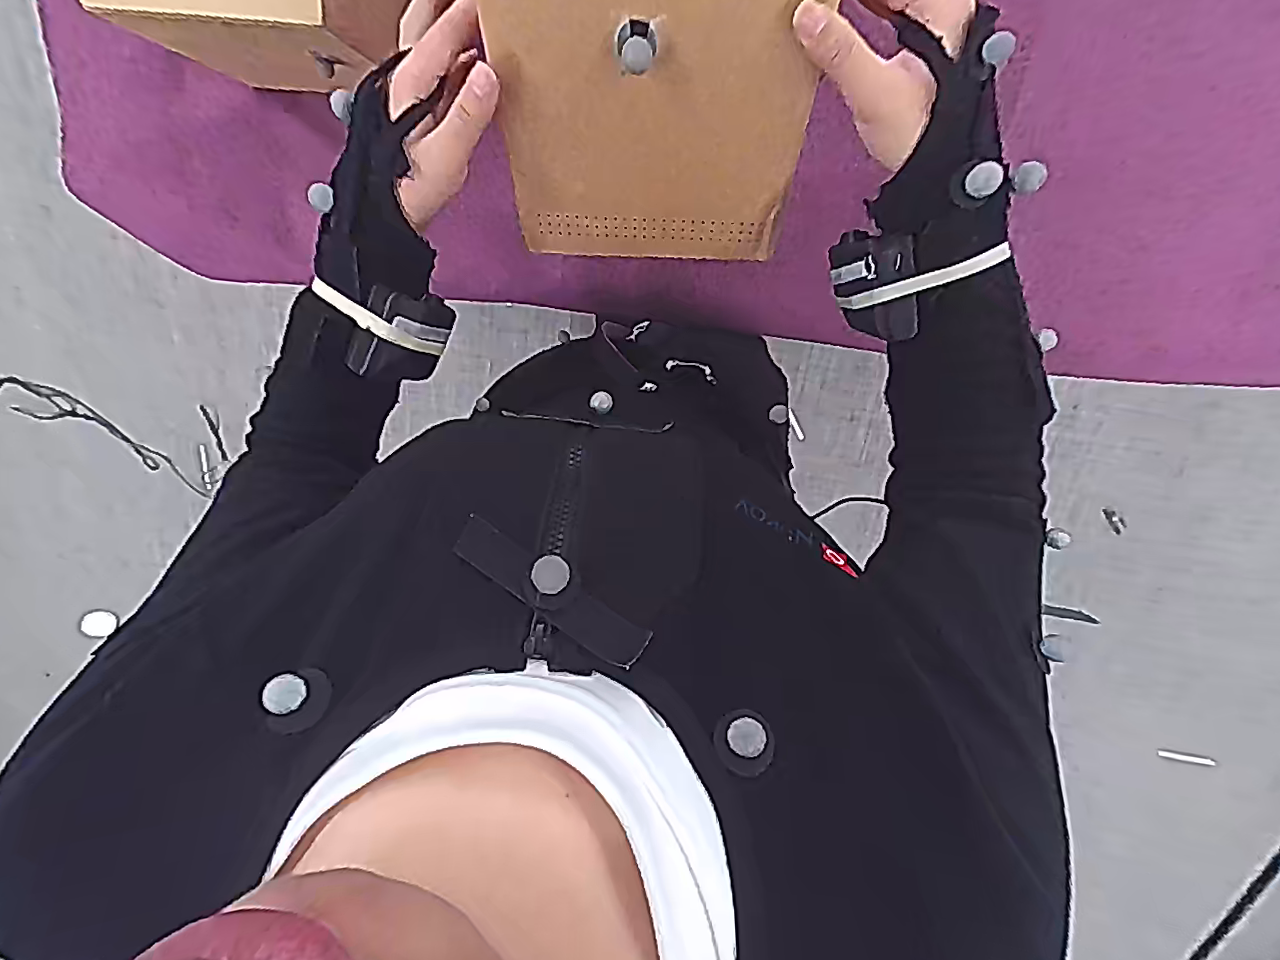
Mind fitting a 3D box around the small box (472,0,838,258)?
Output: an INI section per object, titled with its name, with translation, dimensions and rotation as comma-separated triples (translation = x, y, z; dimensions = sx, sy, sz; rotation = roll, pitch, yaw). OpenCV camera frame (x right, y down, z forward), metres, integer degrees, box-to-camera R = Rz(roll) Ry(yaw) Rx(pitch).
[small box]
translation = 0.010, -0.263, 0.344
dimensions = 0.179, 0.168, 0.176
rotation = 2, 149, 2
